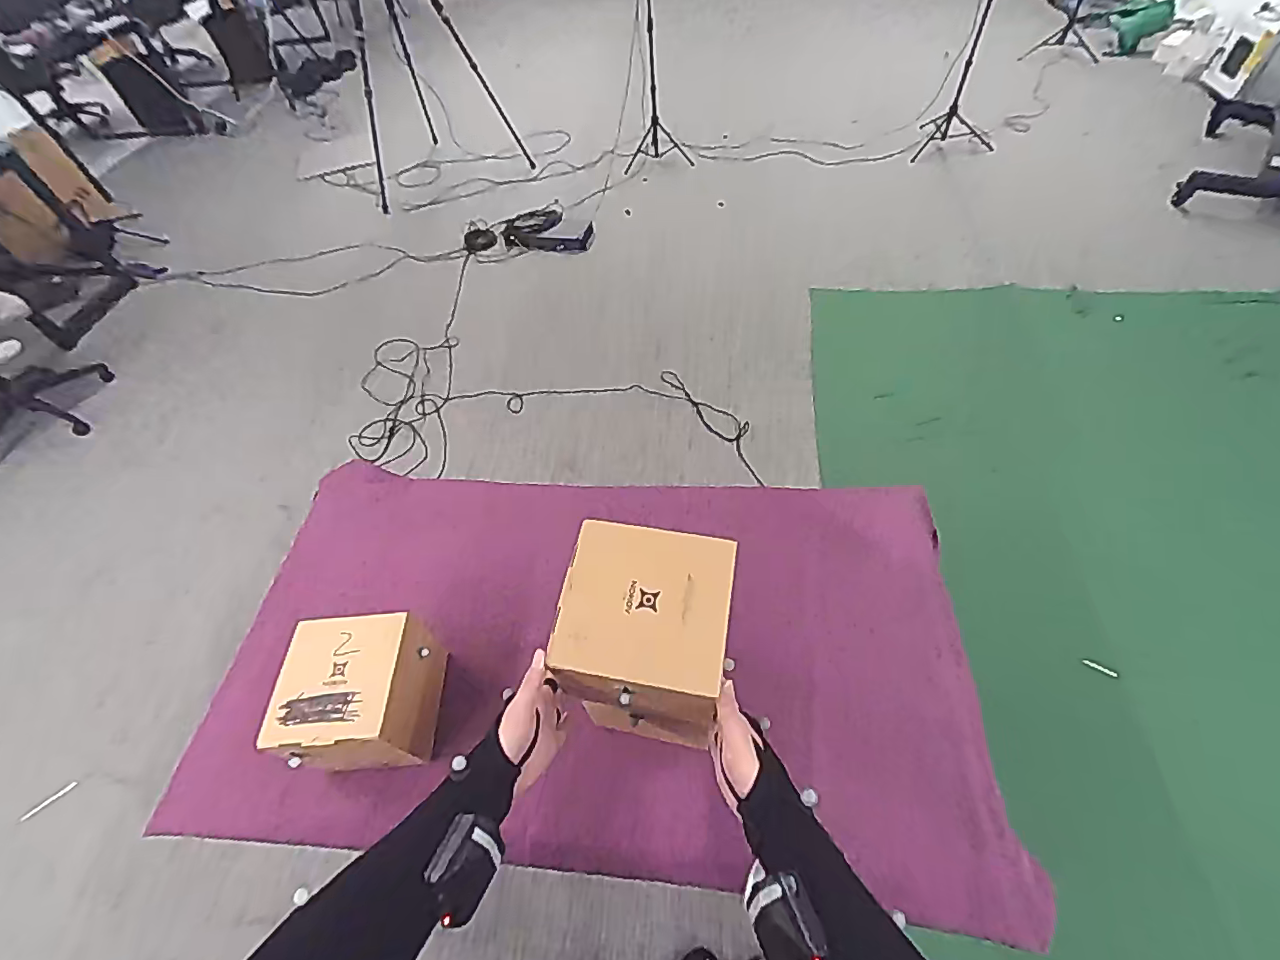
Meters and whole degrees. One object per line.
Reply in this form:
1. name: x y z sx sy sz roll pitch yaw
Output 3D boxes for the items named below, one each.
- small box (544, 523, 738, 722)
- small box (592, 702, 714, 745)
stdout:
1. small box: 0.011 0.169 0.621 0.179 0.176 0.168 8 60 9
2. small box: 0.028 0.276 0.799 0.179 0.176 0.168 7 55 10
